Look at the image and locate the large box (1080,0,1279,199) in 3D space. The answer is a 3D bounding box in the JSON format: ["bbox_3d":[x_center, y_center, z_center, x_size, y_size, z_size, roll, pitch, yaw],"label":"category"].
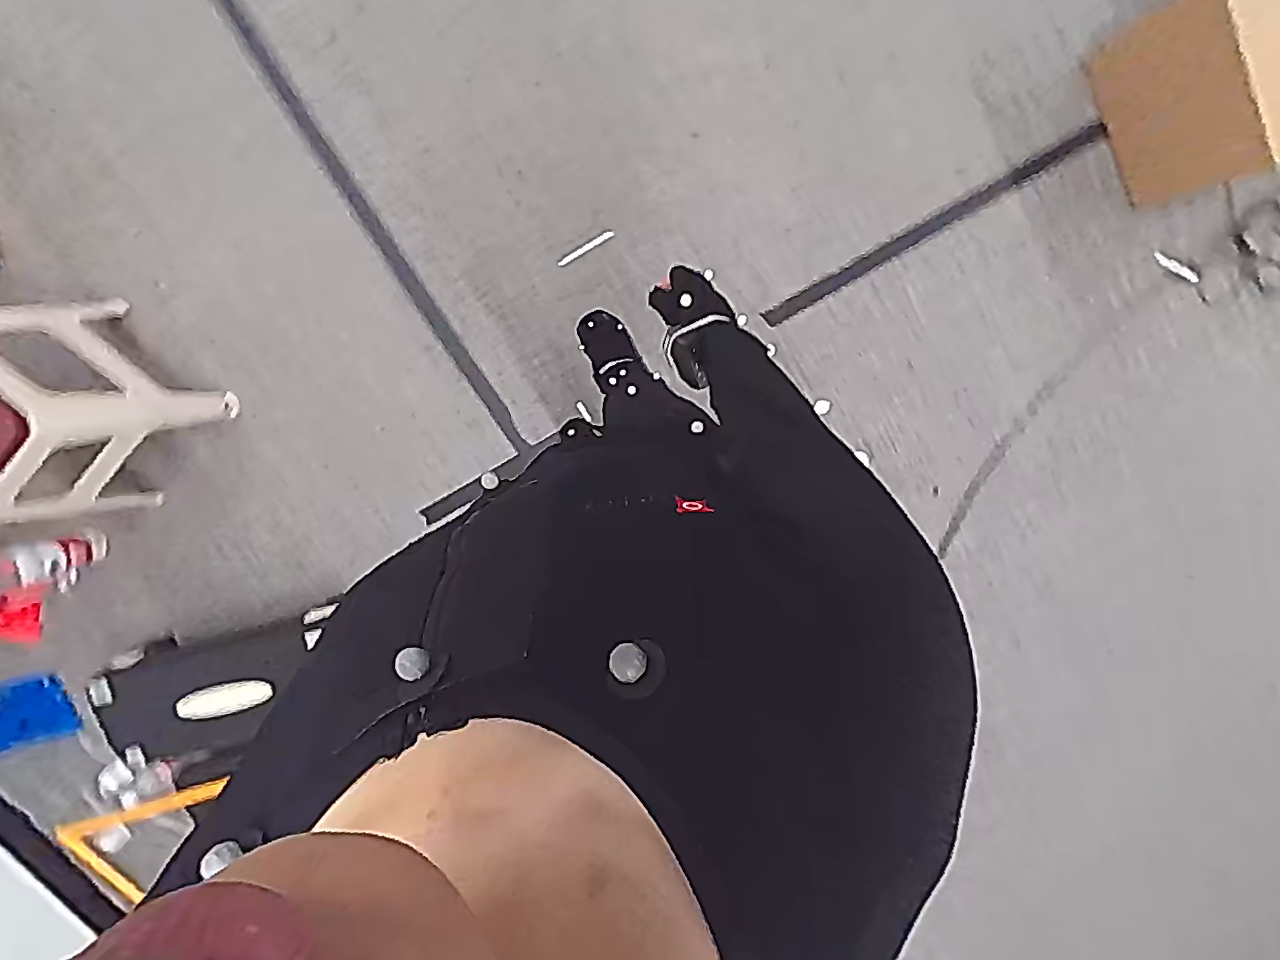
[{"bbox_3d":[1.294,-0.925,1.192,0.320,0.320,0.408,-30,102,4],"label":"large box"}]
